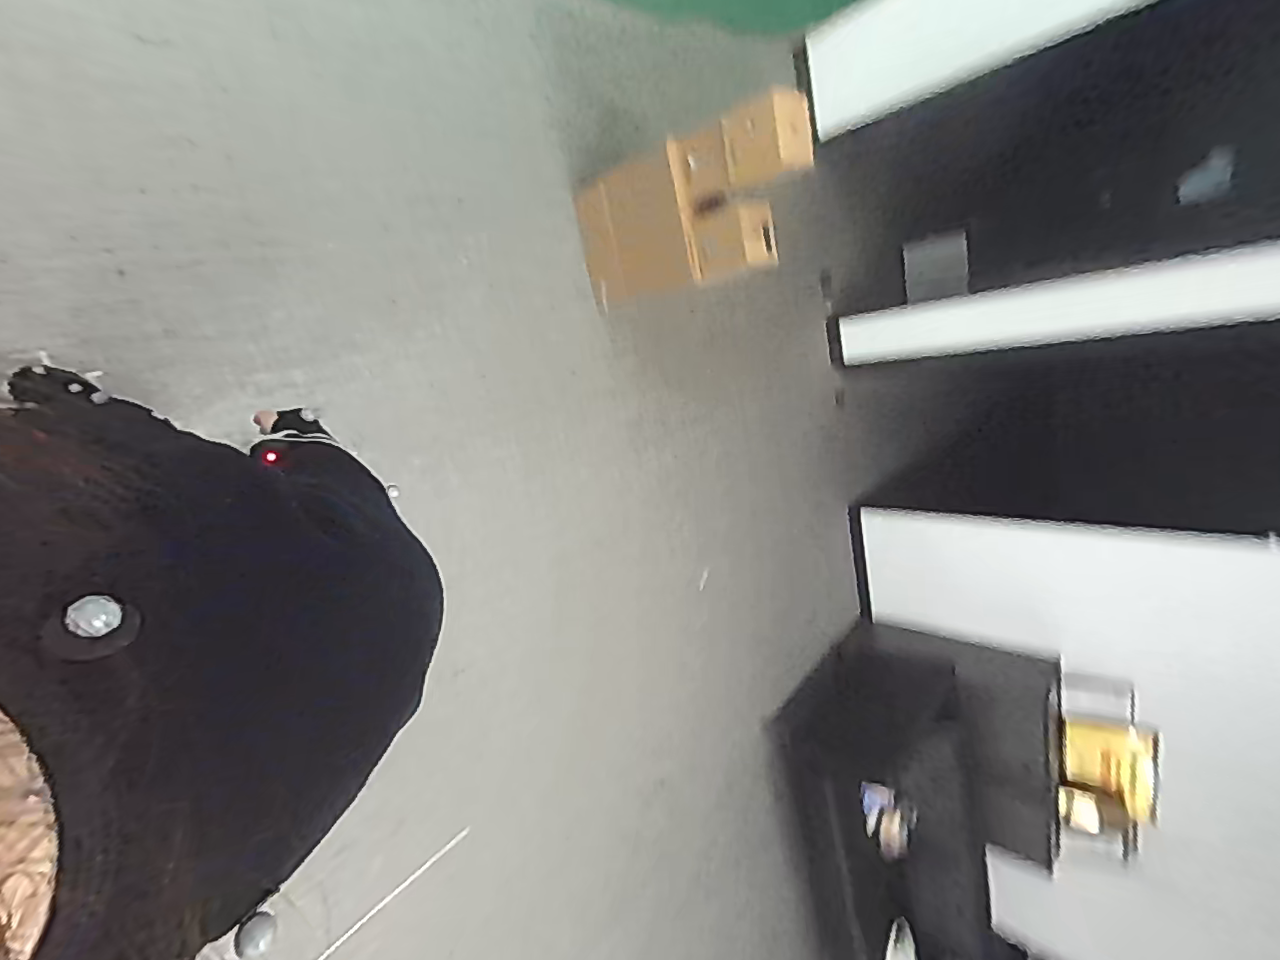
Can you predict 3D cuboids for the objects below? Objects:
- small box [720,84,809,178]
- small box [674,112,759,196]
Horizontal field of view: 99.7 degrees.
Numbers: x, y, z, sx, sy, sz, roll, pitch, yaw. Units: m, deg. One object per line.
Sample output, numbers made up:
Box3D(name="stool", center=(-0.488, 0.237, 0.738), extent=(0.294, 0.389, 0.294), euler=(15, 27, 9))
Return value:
Box3D(name="small box", center=(0.330, -0.931, 1.460), extent=(0.179, 0.176, 0.168), euler=(-27, 113, -40))
Box3D(name="small box", center=(0.225, -0.946, 1.583), extent=(0.179, 0.176, 0.168), euler=(-26, 112, -39))
